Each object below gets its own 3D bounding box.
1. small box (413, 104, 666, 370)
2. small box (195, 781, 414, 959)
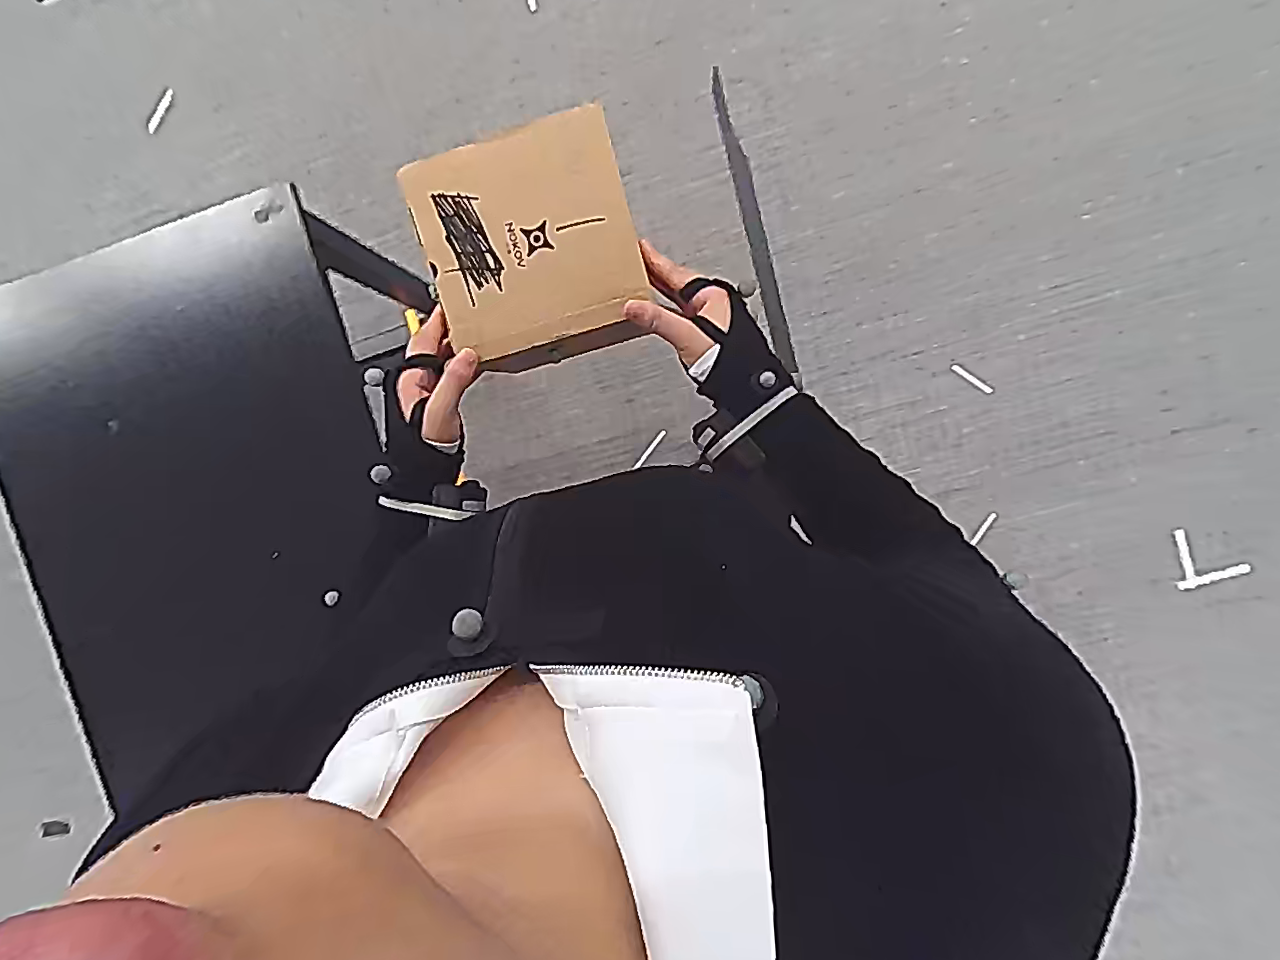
[{"bbox_3d":[-0.077,-0.207,0.518,0.179,0.176,0.168,-15,99,5],"label":"small box"},{"bbox_3d":[-0.449,0.555,0.751,0.179,0.176,0.168,-13,94,5],"label":"small box"}]
